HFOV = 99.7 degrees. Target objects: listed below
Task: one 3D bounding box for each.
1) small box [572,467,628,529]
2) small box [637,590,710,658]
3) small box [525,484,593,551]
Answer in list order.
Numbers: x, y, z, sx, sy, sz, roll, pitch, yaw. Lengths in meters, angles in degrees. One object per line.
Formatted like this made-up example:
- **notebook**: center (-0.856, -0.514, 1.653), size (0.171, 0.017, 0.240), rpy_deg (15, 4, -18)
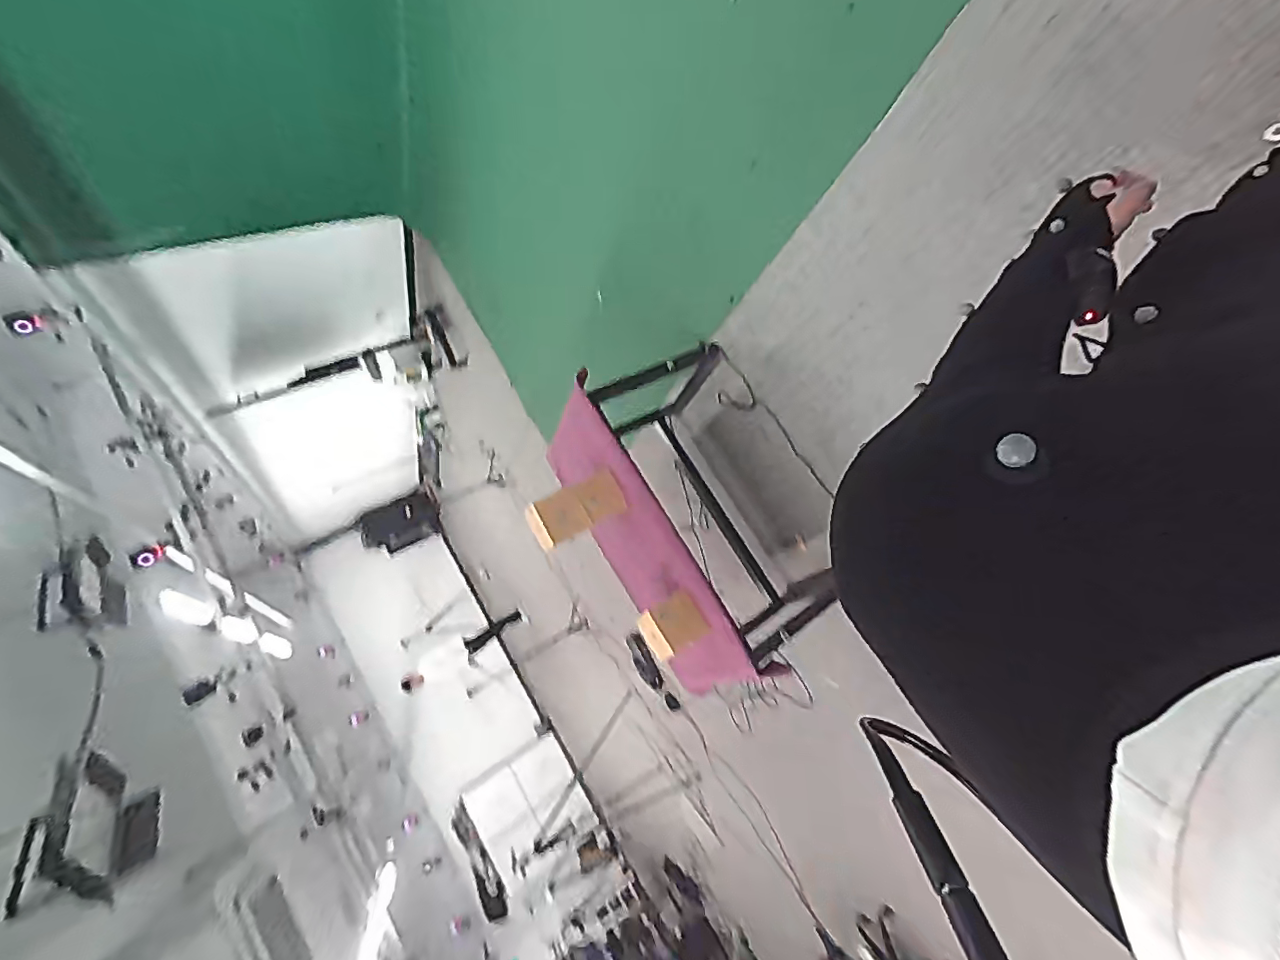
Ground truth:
- **small box**: center (-0.170, 0.071, 2.081), size (0.179, 0.176, 0.168), rpy_deg (63, 152, 0)
- **small box**: center (0.121, 0.521, 1.978), size (0.179, 0.176, 0.168), rpy_deg (55, 152, 13)
- **small box**: center (-0.298, 0.138, 2.004), size (0.179, 0.176, 0.168), rpy_deg (60, 151, 2)
